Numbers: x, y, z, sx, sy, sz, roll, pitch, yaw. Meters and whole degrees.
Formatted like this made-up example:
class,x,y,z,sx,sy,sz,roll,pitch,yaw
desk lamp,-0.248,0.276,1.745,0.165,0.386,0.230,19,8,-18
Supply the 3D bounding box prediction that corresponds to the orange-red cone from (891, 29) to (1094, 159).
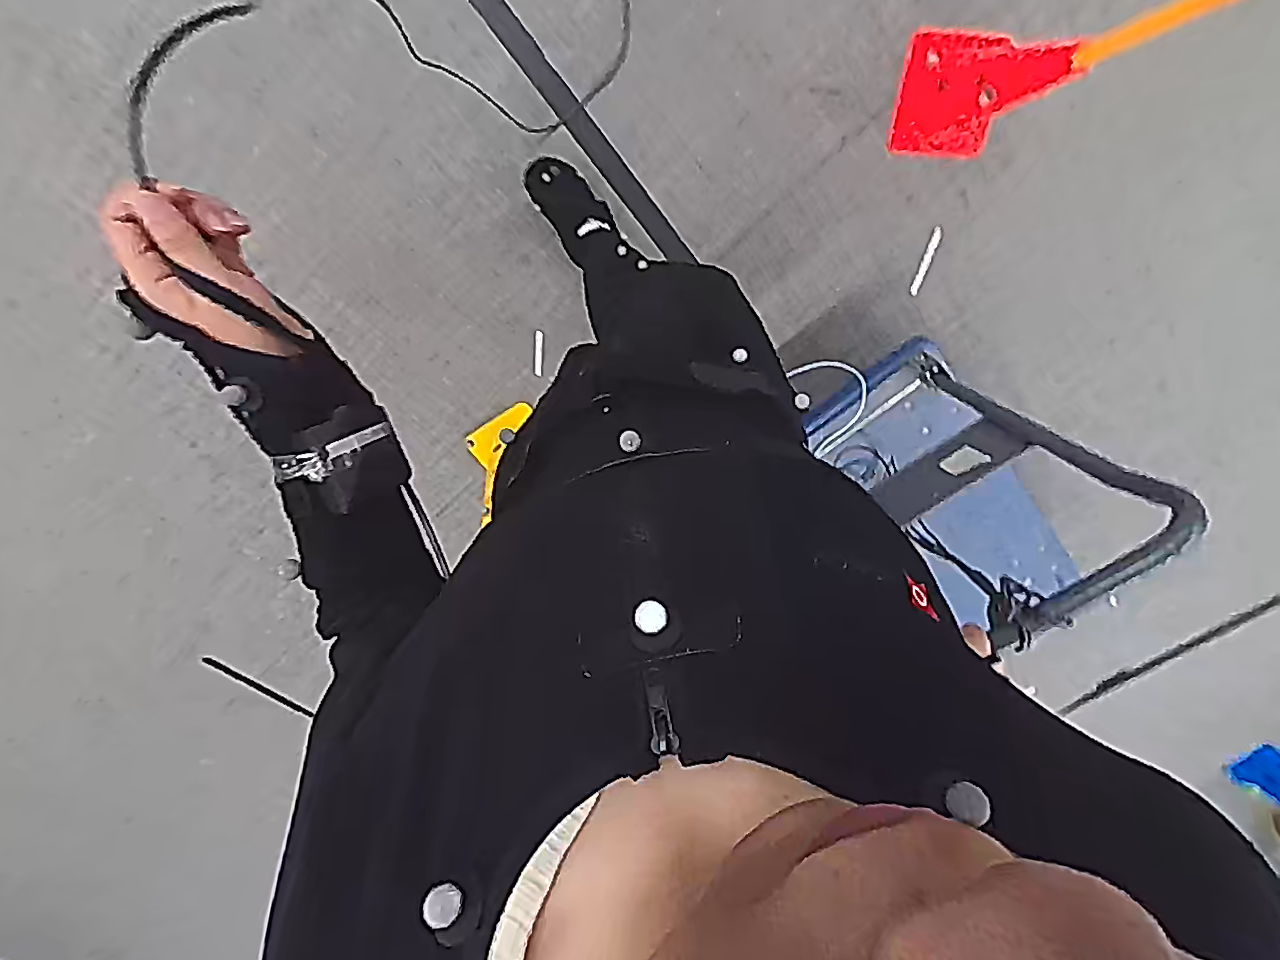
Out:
class,x,y,z,sx,sy,sz,roll,pitch,yaw
orange-red cone,0.615,-0.669,0.911,0.198,0.360,0.199,3,119,-3
